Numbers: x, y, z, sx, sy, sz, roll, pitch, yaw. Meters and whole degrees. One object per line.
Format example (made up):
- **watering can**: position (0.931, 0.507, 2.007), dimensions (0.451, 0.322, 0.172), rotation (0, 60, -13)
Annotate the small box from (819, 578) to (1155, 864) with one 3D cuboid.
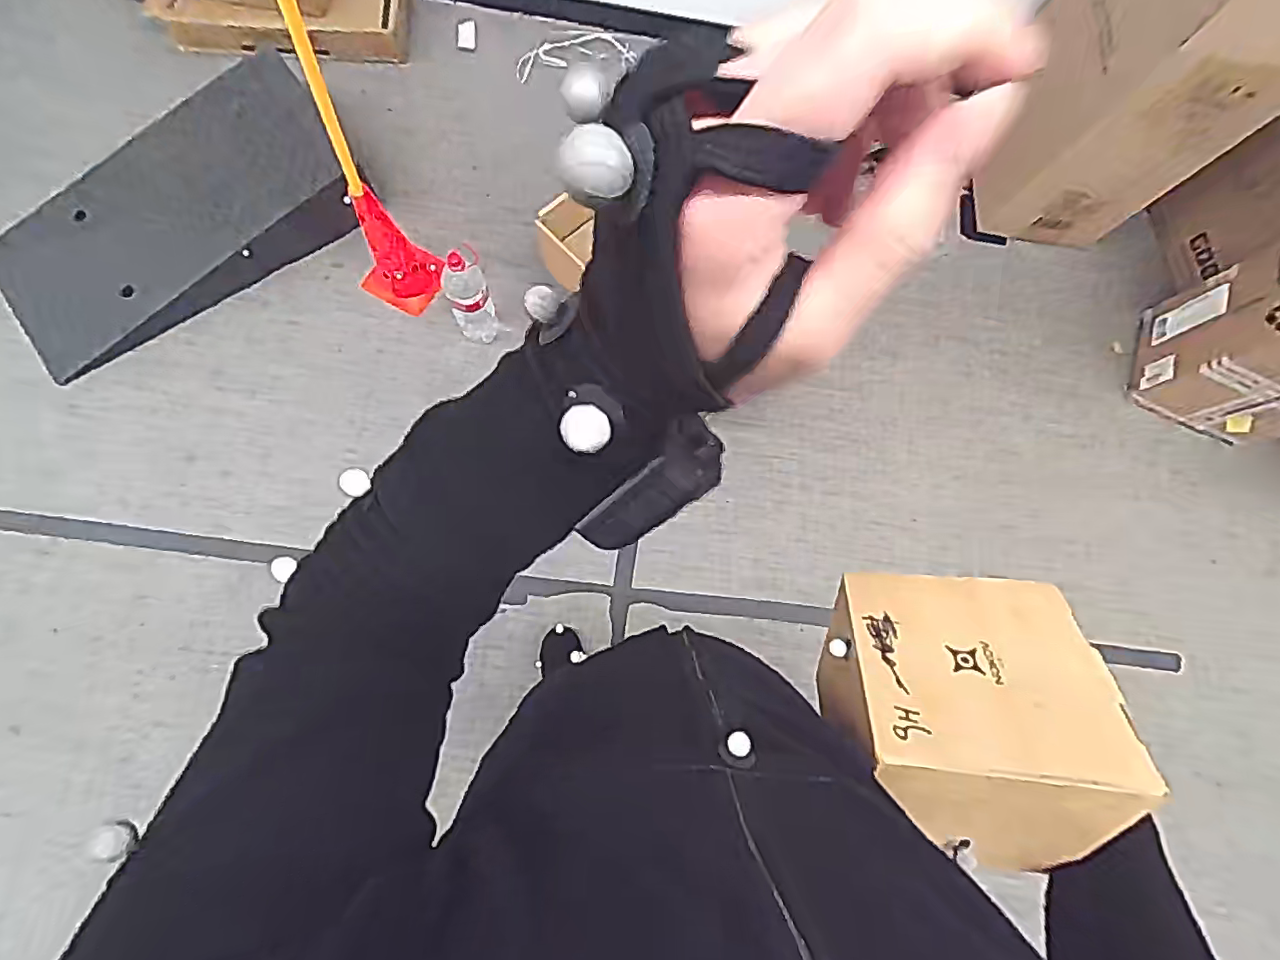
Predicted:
- **small box**: position (0.266, 0.208, 0.471), dimensions (0.179, 0.176, 0.168), rotation (2, 40, 9)
